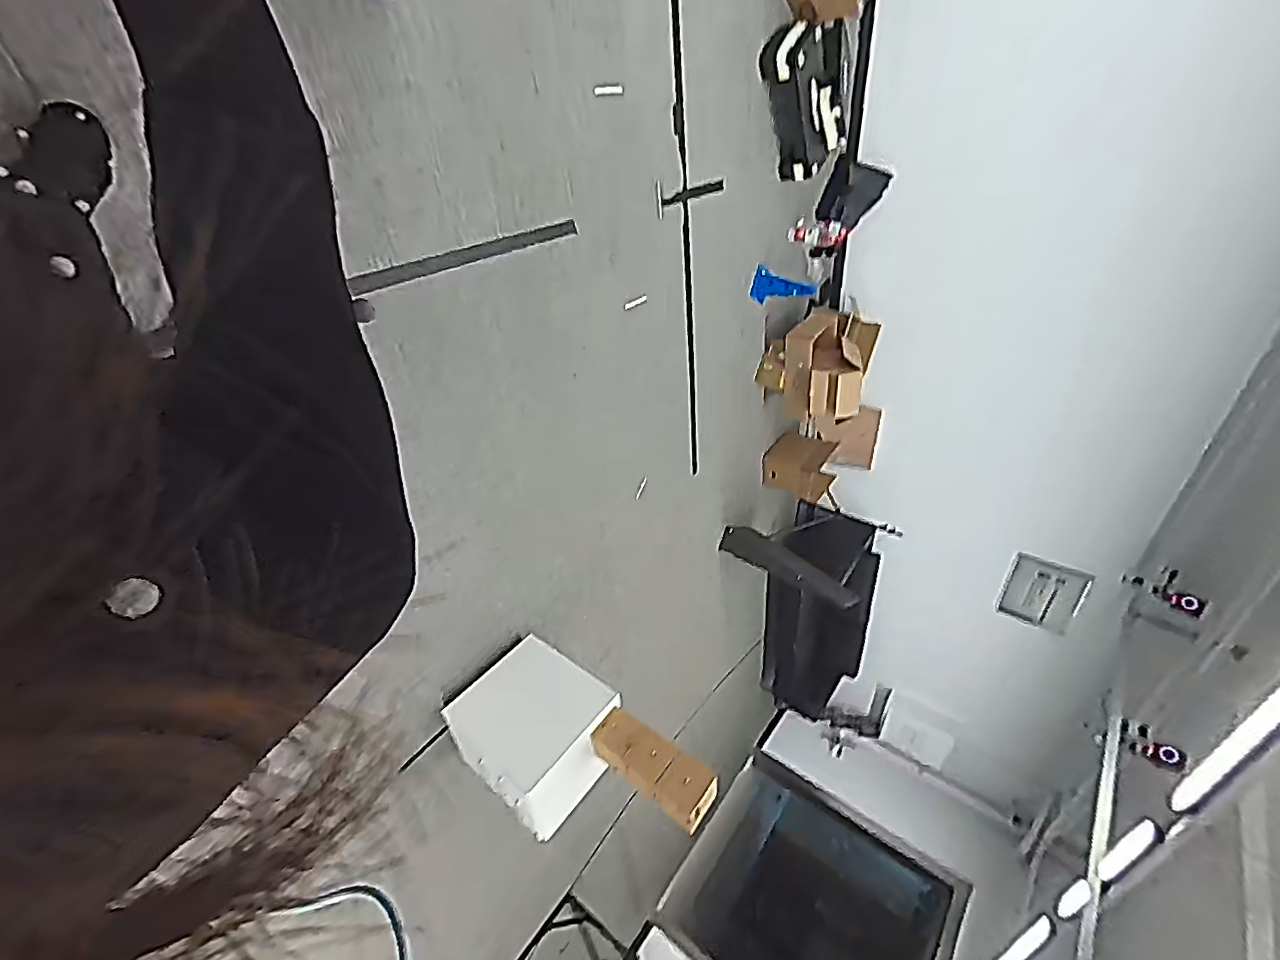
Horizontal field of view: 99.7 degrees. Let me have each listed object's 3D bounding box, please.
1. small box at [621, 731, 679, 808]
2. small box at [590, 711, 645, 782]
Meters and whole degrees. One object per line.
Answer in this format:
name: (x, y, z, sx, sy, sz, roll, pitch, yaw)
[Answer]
small box: (0.037, 1.147, 2.151, 0.179, 0.176, 0.168, -37, 137, -38)
small box: (-0.090, 1.099, 2.245, 0.168, 0.176, 0.179, -37, 137, -37)
